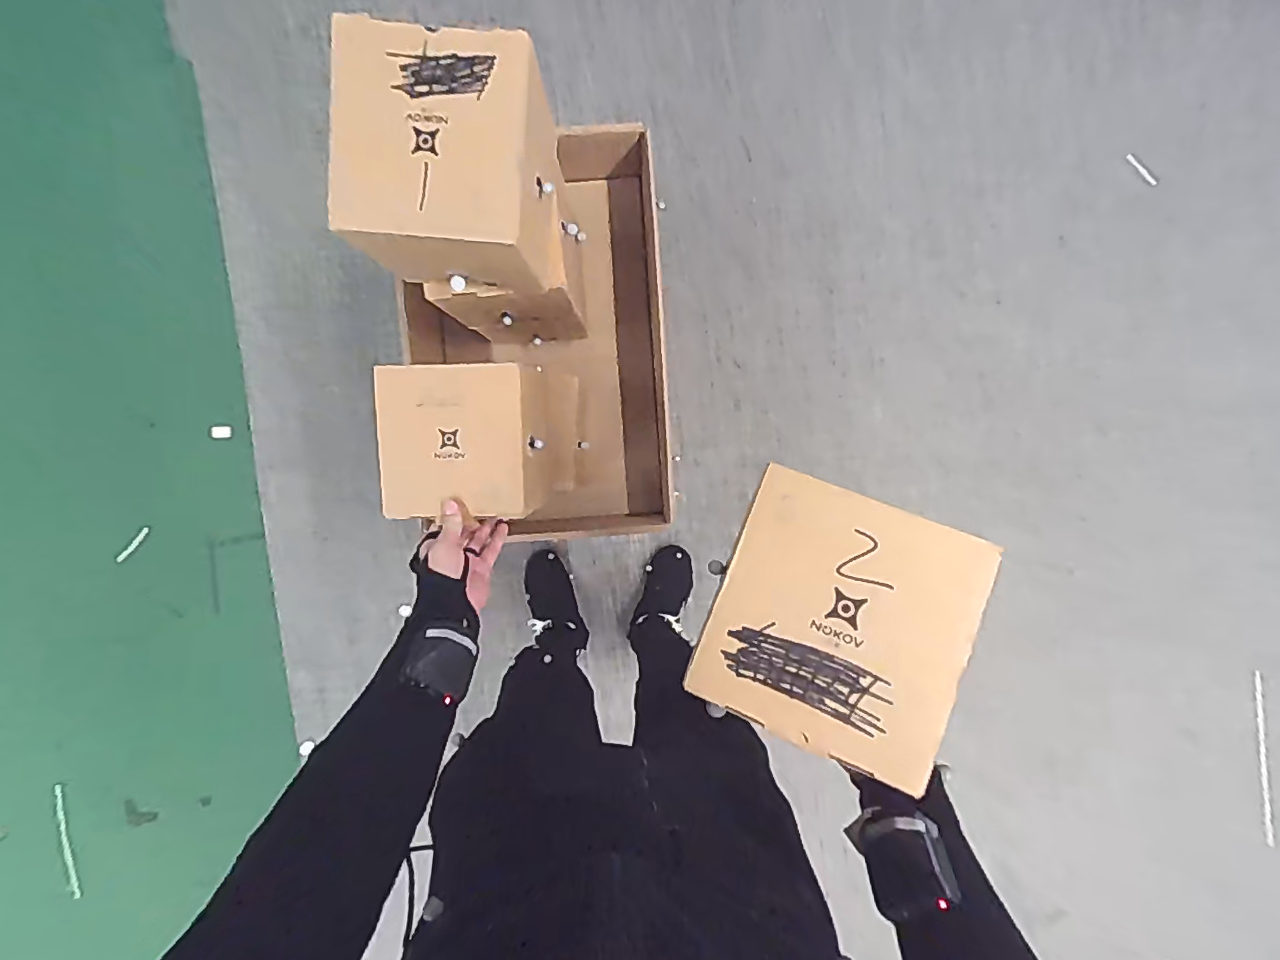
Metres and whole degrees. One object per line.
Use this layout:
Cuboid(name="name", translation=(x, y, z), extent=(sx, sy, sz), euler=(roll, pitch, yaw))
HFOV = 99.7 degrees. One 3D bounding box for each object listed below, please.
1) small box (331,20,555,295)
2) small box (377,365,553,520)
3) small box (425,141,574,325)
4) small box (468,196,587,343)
Cuboid(name="small box", translation=(-0.181, -0.302, 0.544), extent=(0.168, 0.176, 0.179), euler=(5, 96, -1))
Cuboid(name="small box", translation=(-0.208, -0.050, 0.688), extent=(0.168, 0.176, 0.179), euler=(0, 95, 3))
Cuboid(name="small box", translation=(-0.179, -0.312, 0.709), extent=(0.168, 0.176, 0.179), euler=(-5, 96, -1))
Cuboid(name="small box", translation=(-0.179, -0.327, 0.869), extent=(0.168, 0.176, 0.179), euler=(-5, 95, 0))
